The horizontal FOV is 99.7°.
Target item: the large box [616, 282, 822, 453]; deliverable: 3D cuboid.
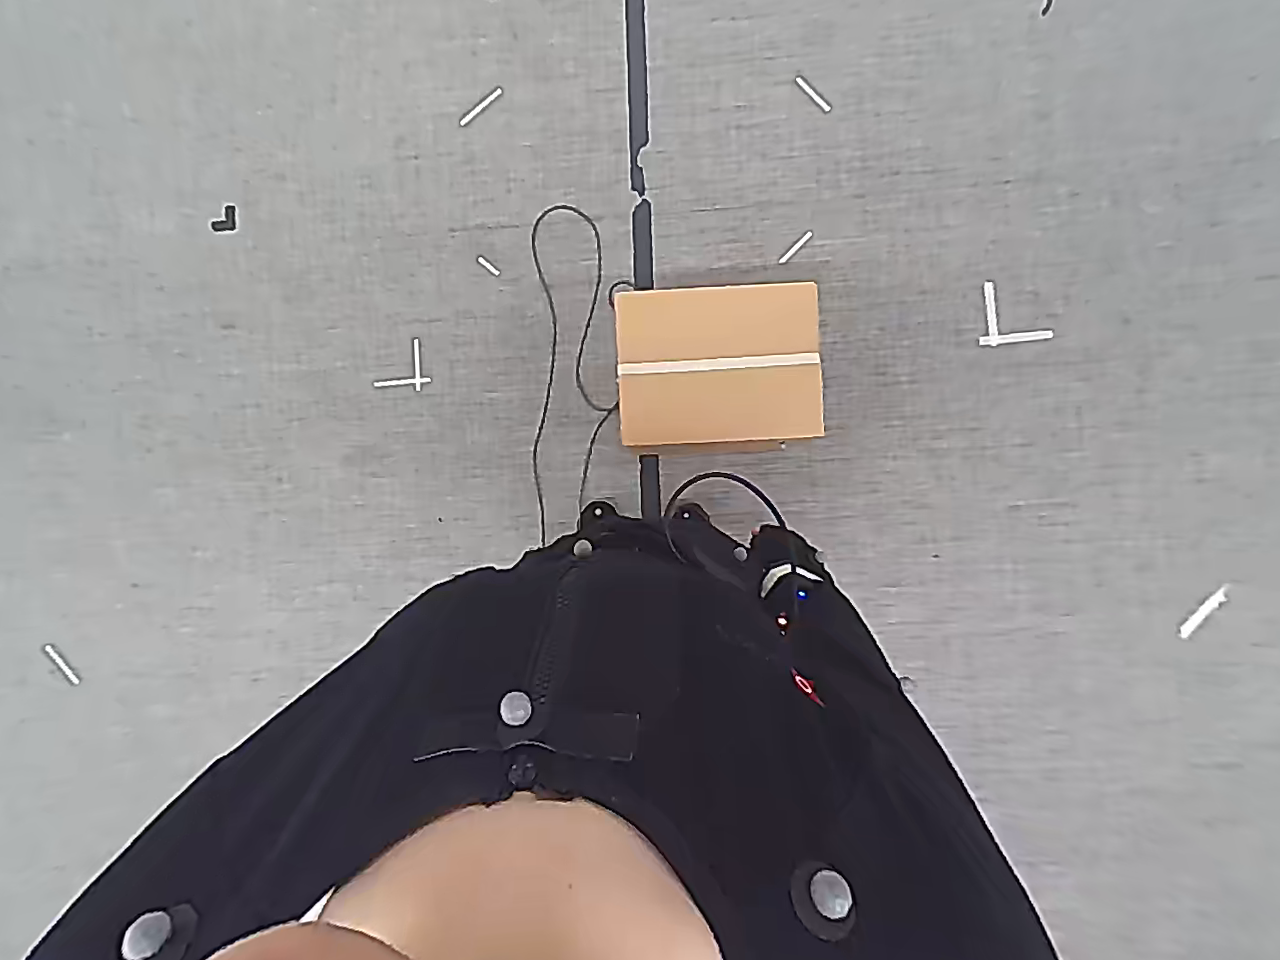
[{"bbox_3d":[0.164,-0.232,1.235,0.408,0.320,0.320,-3,89,2],"label":"large box"}]
